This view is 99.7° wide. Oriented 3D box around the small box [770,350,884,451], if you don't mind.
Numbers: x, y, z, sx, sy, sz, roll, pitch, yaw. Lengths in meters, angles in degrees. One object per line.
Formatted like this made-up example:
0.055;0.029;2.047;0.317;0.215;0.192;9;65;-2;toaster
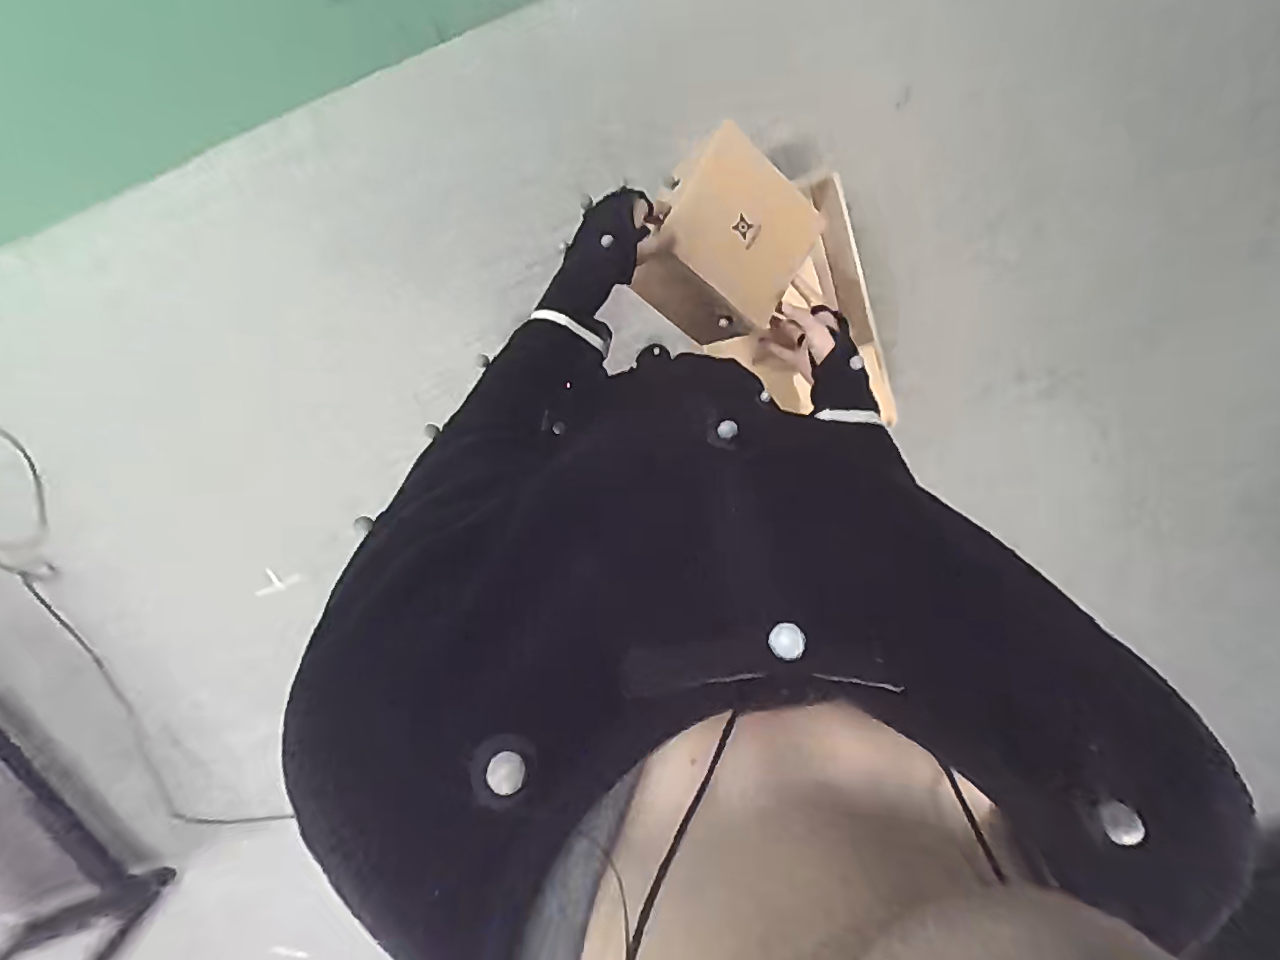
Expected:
0.397;-0.179;1.182;0.179;0.176;0.168;-19;105;1;small box

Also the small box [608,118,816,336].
0.082;-0.306;0.704;0.179;0.176;0.168;32;86;-21;small box

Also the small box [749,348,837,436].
0.391;-0.224;1.339;0.179;0.176;0.168;-19;103;2;small box
